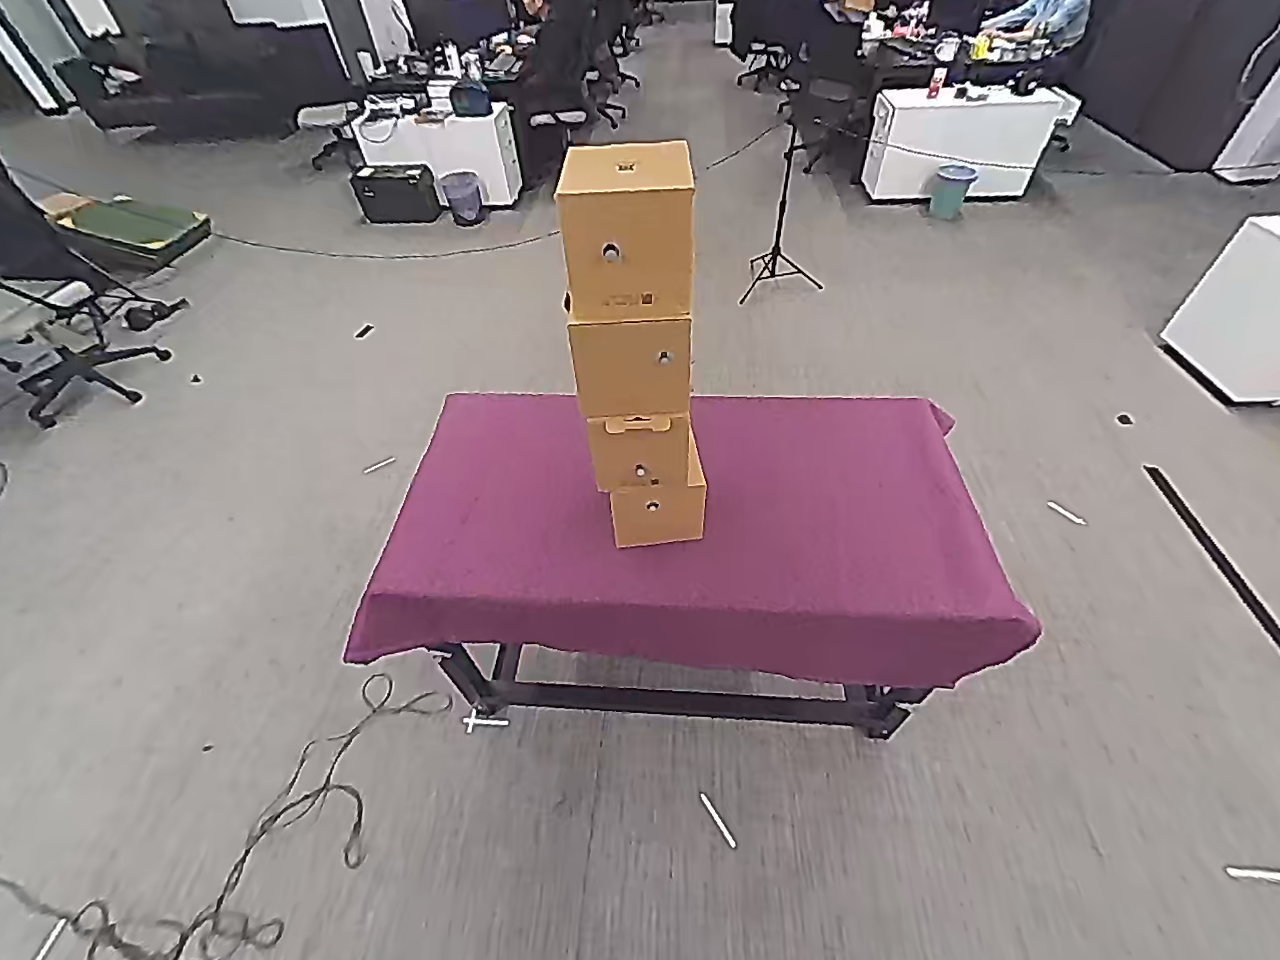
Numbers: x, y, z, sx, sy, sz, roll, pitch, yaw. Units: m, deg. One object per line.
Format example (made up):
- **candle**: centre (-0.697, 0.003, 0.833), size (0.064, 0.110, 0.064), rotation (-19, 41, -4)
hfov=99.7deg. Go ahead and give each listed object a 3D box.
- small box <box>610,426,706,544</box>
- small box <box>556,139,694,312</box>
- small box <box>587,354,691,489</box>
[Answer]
- **small box**: centre (0.030, 0.013, 1.080), size (0.179, 0.176, 0.168), rotation (-6, 48, -3)
- **small box**: centre (-0.012, -0.343, 0.742), size (0.168, 0.176, 0.179), rotation (-2, 46, 2)
- **small box**: centre (0.001, -0.103, 0.965), size (0.168, 0.176, 0.179), rotation (-3, 48, 2)
